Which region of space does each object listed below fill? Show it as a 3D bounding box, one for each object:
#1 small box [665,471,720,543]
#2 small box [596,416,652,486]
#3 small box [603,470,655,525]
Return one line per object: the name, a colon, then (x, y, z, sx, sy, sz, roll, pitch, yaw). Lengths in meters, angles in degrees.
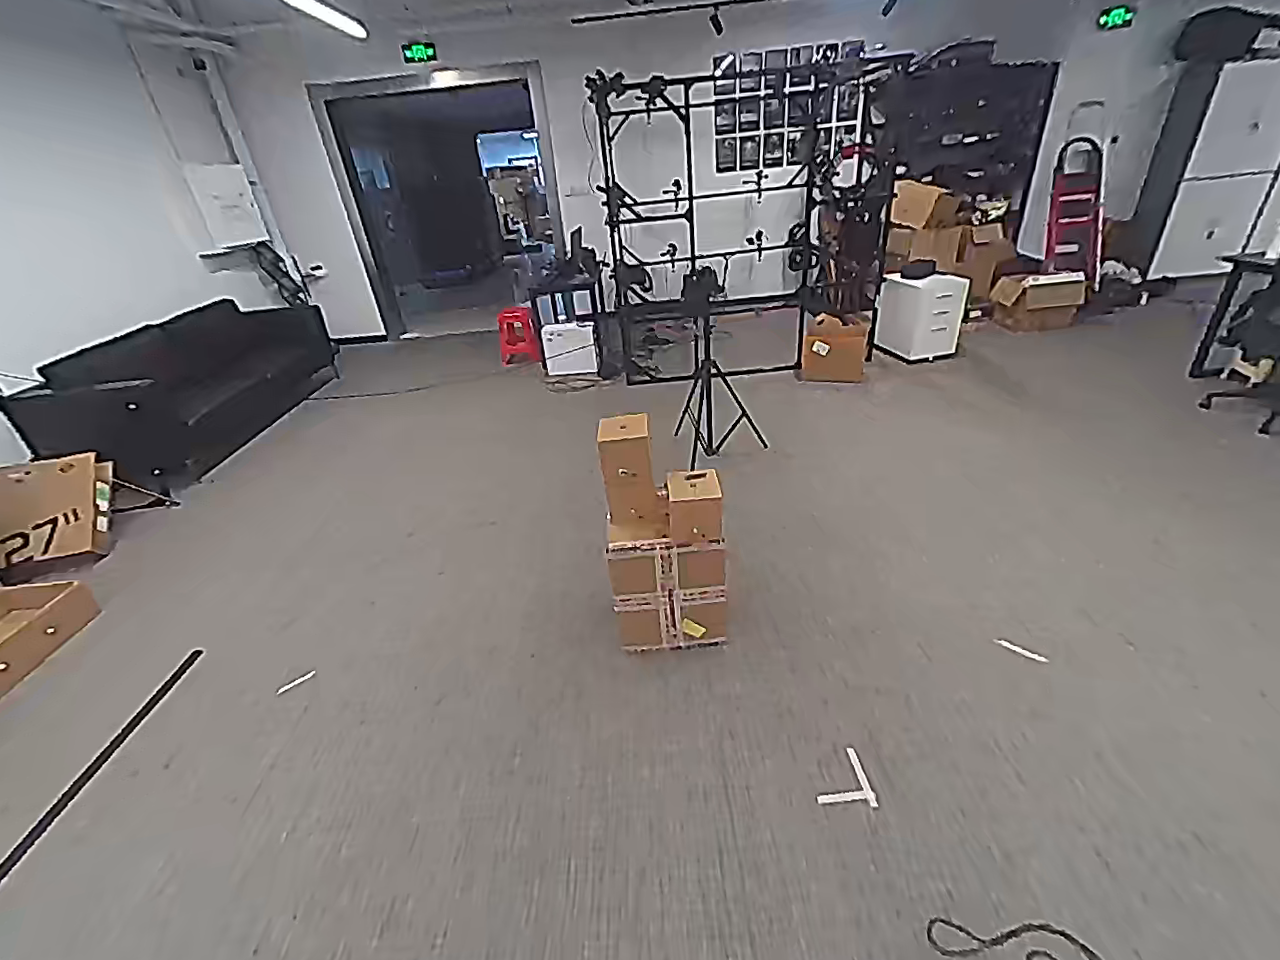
small box: (0.171, 0.089, 1.795, 0.168, 0.176, 0.179, -5, 32, 1)
small box: (-0.052, -0.098, 1.829, 0.168, 0.176, 0.179, -7, 32, 3)
small box: (-0.036, 0.039, 1.914, 0.168, 0.176, 0.179, -6, 31, 3)
